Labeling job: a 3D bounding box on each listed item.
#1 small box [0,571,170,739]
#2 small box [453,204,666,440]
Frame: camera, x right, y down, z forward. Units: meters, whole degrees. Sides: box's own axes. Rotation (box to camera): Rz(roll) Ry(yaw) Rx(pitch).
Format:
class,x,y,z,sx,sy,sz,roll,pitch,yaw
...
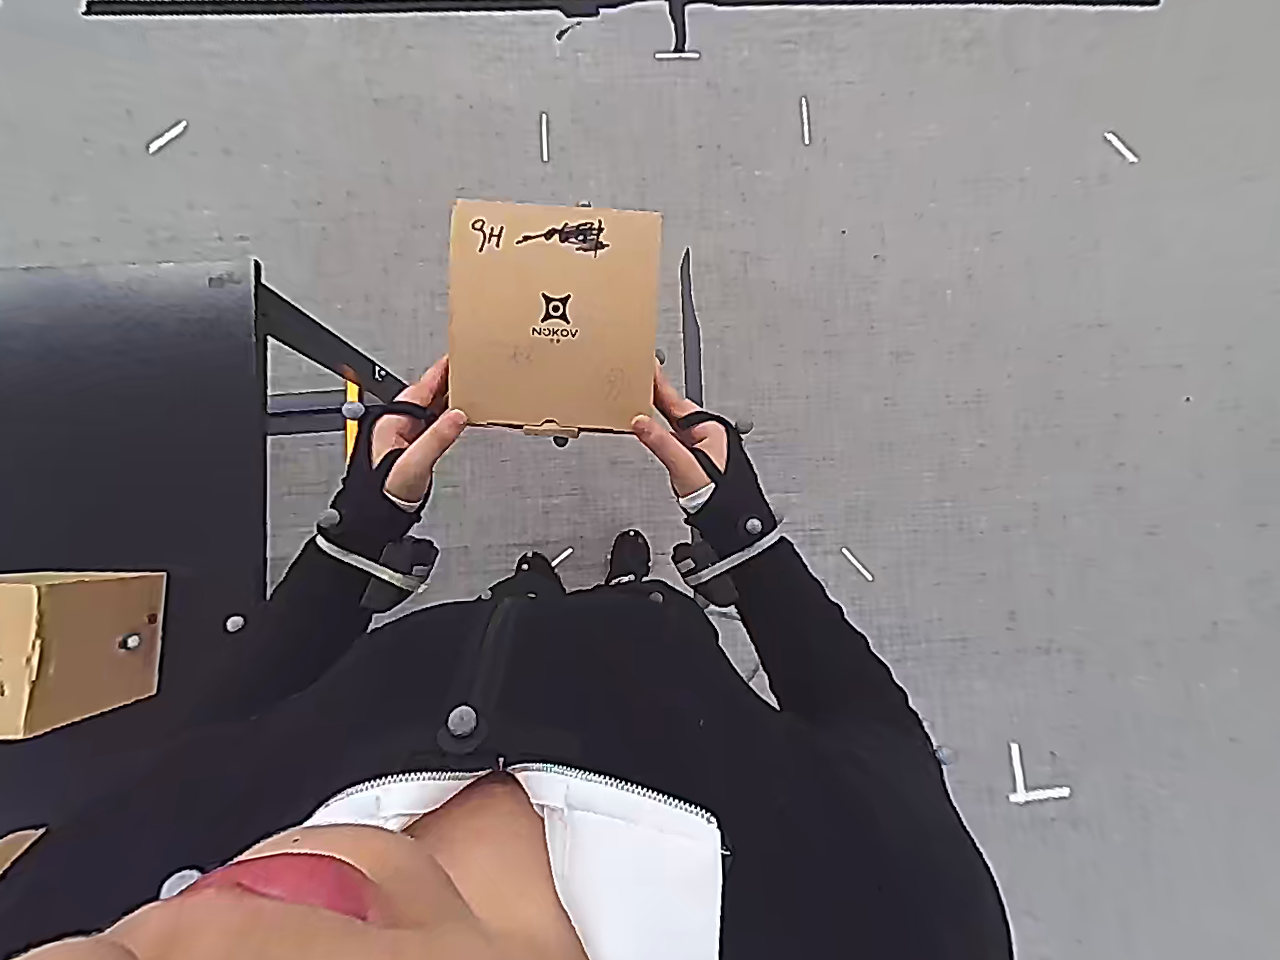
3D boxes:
class,x,y,z,sx,sy,sz,roll,pitch,yaw
small box,-0.738,0.201,0.661,0.179,0.176,0.168,1,85,-2
small box,-0.067,-0.134,0.510,0.168,0.176,0.179,3,97,-2
